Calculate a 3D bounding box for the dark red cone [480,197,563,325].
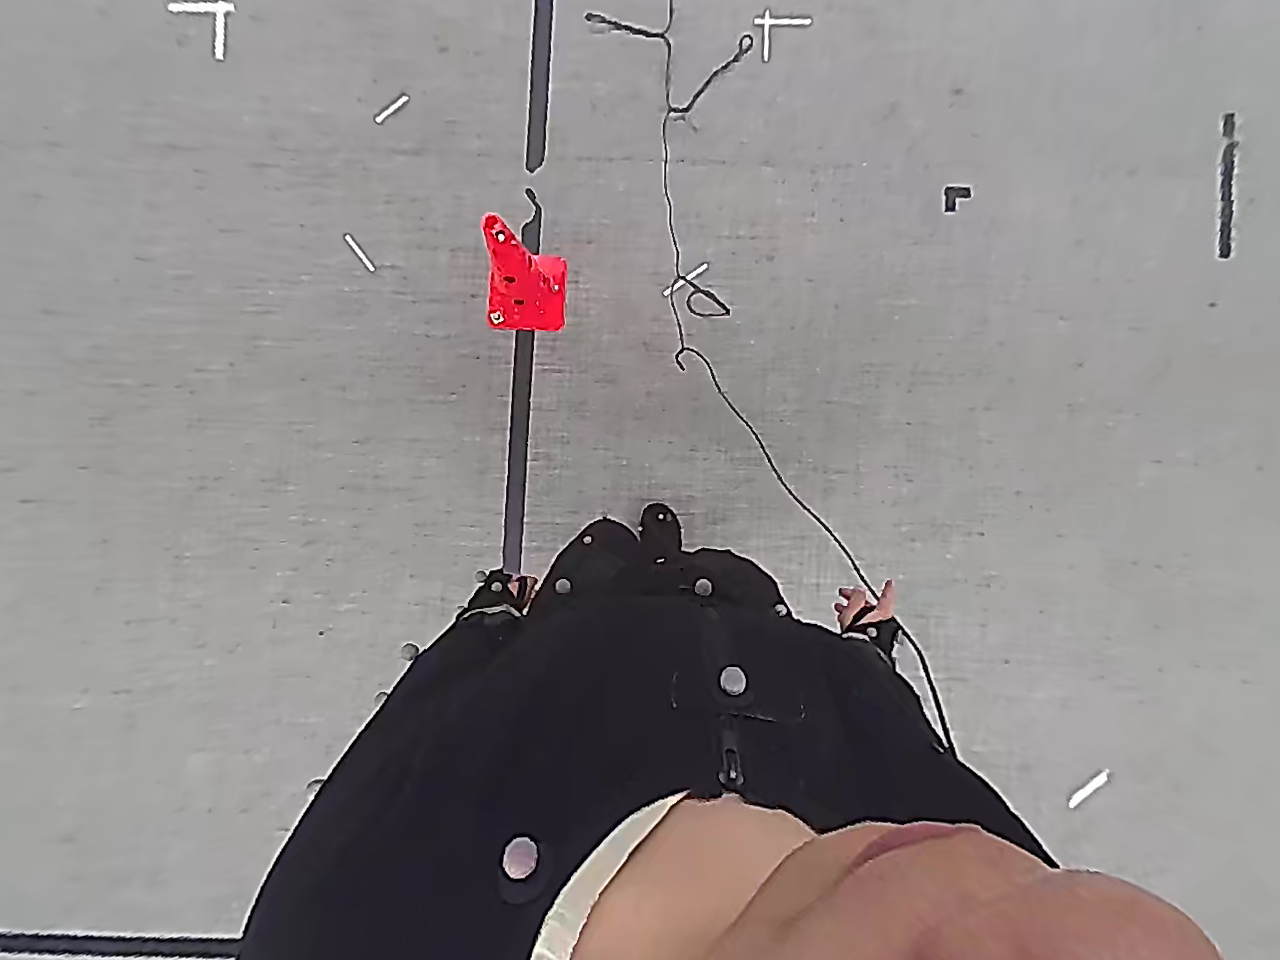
[{"bbox_3d":[-0.293,-0.504,1.215,0.201,0.394,0.202,2,87,-2],"label":"dark red cone"}]
